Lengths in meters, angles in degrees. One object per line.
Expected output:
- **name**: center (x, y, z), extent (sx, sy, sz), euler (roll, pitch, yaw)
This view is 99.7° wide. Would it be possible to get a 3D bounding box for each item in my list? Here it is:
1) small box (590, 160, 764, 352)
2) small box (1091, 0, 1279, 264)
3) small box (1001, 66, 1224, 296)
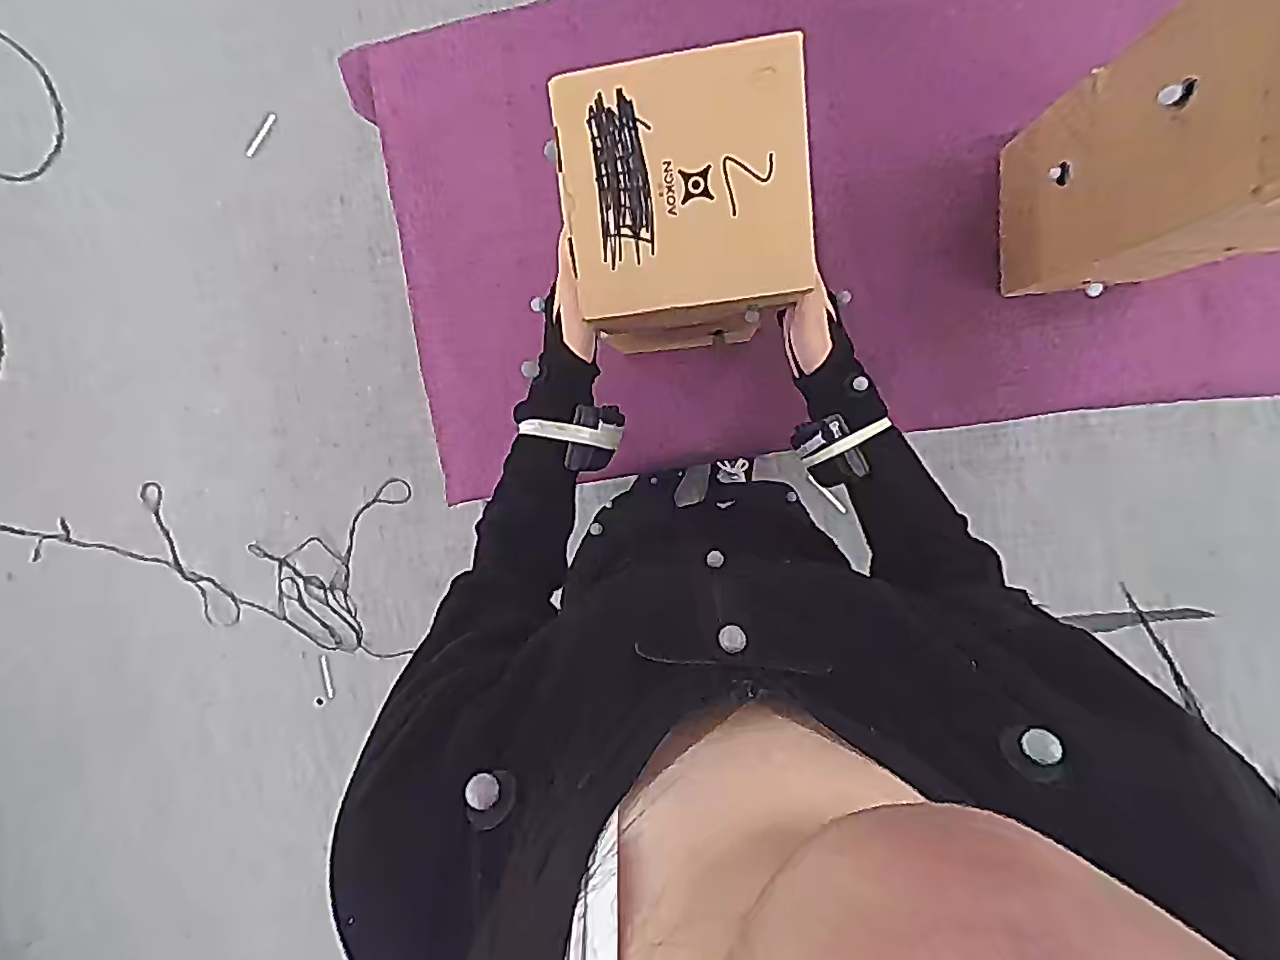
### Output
- **small box**: center (0.048, -0.251, 0.648), extent (0.179, 0.176, 0.168), euler (-4, 96, 8)
- **small box**: center (0.496, -0.286, 0.420), extent (0.168, 0.176, 0.179), euler (-2, 96, 8)
- **small box**: center (0.516, -0.312, 0.581), extent (0.168, 0.176, 0.179), euler (-5, 97, 8)
